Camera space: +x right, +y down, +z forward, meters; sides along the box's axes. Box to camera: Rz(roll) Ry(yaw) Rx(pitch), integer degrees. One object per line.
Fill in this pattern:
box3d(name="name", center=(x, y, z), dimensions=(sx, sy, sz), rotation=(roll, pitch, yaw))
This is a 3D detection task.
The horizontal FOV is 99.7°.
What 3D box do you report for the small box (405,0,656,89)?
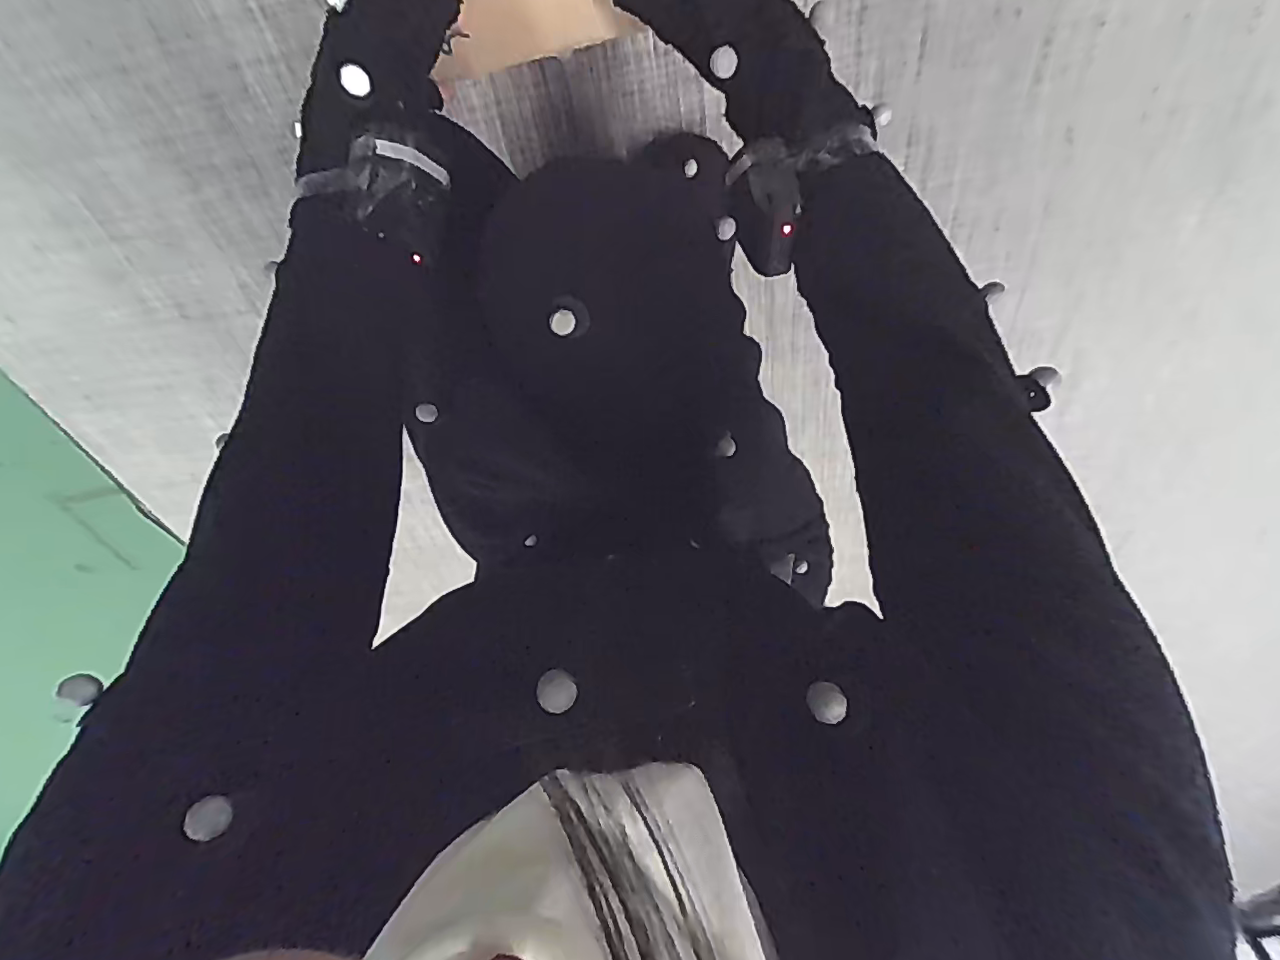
box3d(name="small box", center=(-0.089, -0.427, 0.412), dimensions=(0.179, 0.176, 0.168), rotation=(-8, 133, 5))
